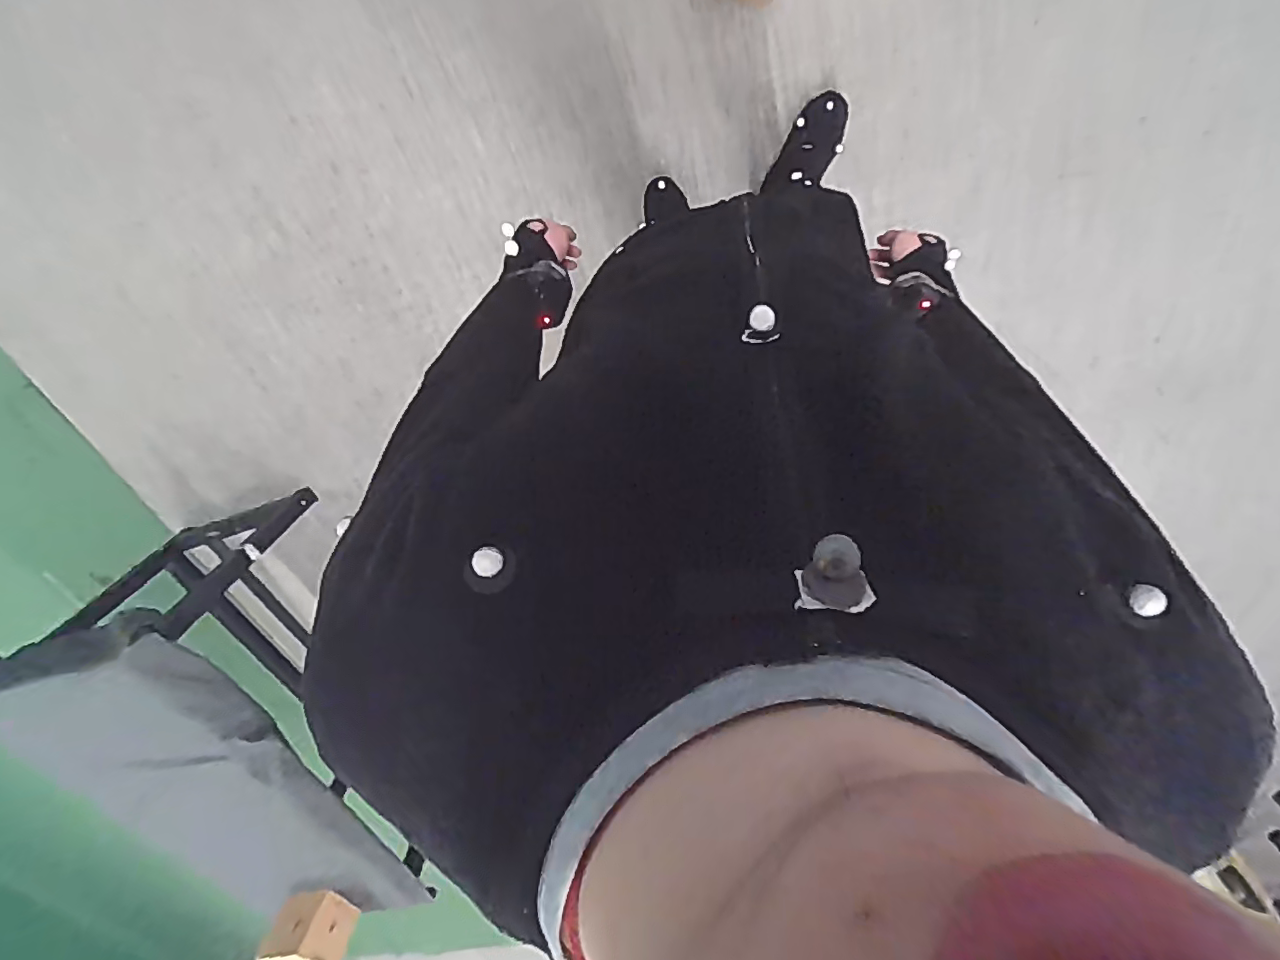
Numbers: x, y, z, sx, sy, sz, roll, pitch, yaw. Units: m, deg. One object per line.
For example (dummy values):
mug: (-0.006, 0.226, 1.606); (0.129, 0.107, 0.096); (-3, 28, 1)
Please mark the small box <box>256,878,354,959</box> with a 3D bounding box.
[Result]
small box: (-1.042, 1.389, 1.707); (0.179, 0.176, 0.168); (-19, 118, 14)
